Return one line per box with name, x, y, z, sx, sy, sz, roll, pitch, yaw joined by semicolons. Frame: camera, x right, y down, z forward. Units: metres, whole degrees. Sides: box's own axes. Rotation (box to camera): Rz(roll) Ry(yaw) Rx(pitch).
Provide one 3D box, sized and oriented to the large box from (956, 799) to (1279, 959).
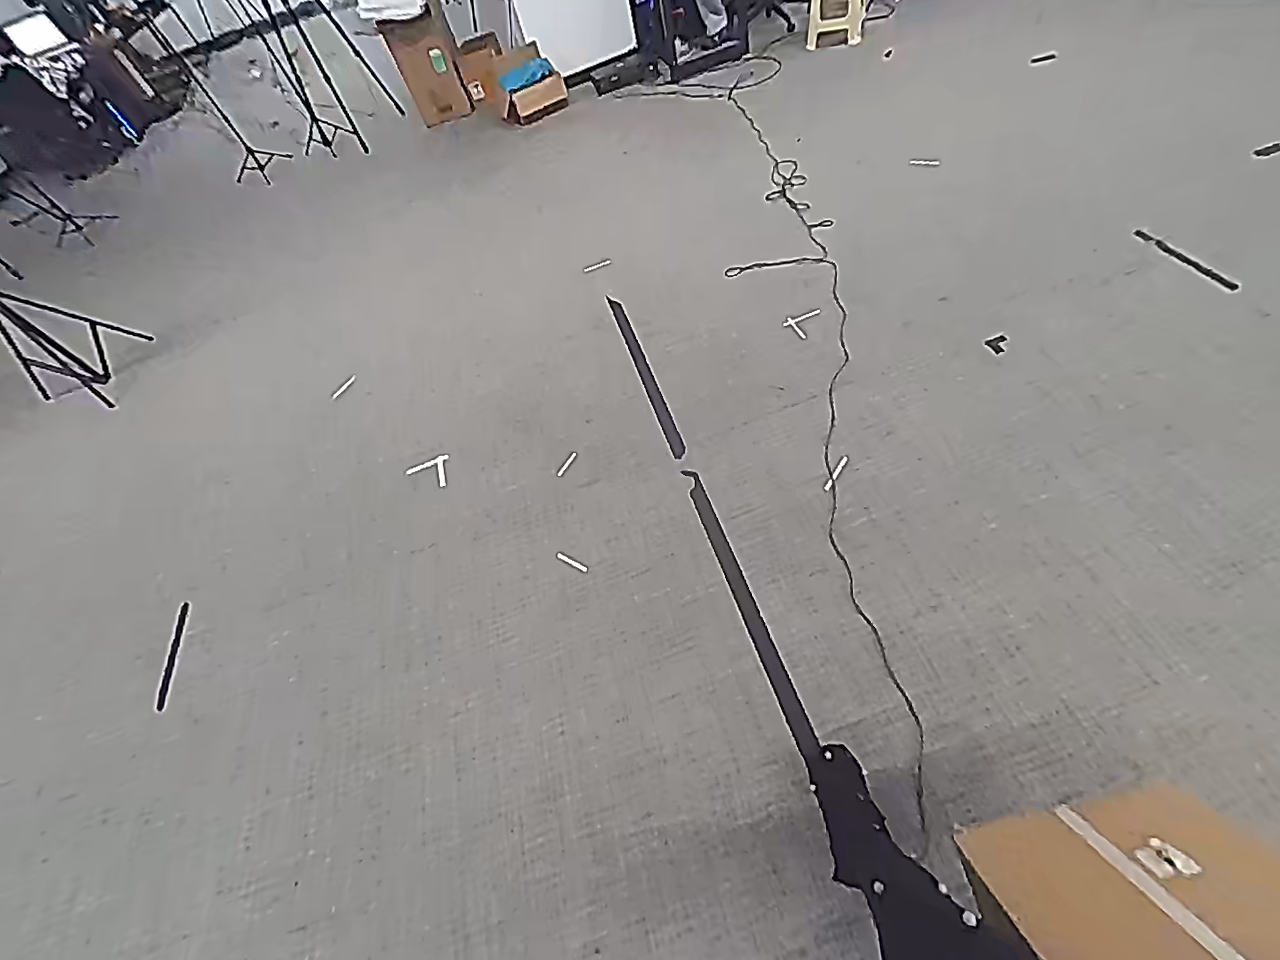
large box;0.642;0.639;0.589;0.320;0.408;0.320;-17;85;5
